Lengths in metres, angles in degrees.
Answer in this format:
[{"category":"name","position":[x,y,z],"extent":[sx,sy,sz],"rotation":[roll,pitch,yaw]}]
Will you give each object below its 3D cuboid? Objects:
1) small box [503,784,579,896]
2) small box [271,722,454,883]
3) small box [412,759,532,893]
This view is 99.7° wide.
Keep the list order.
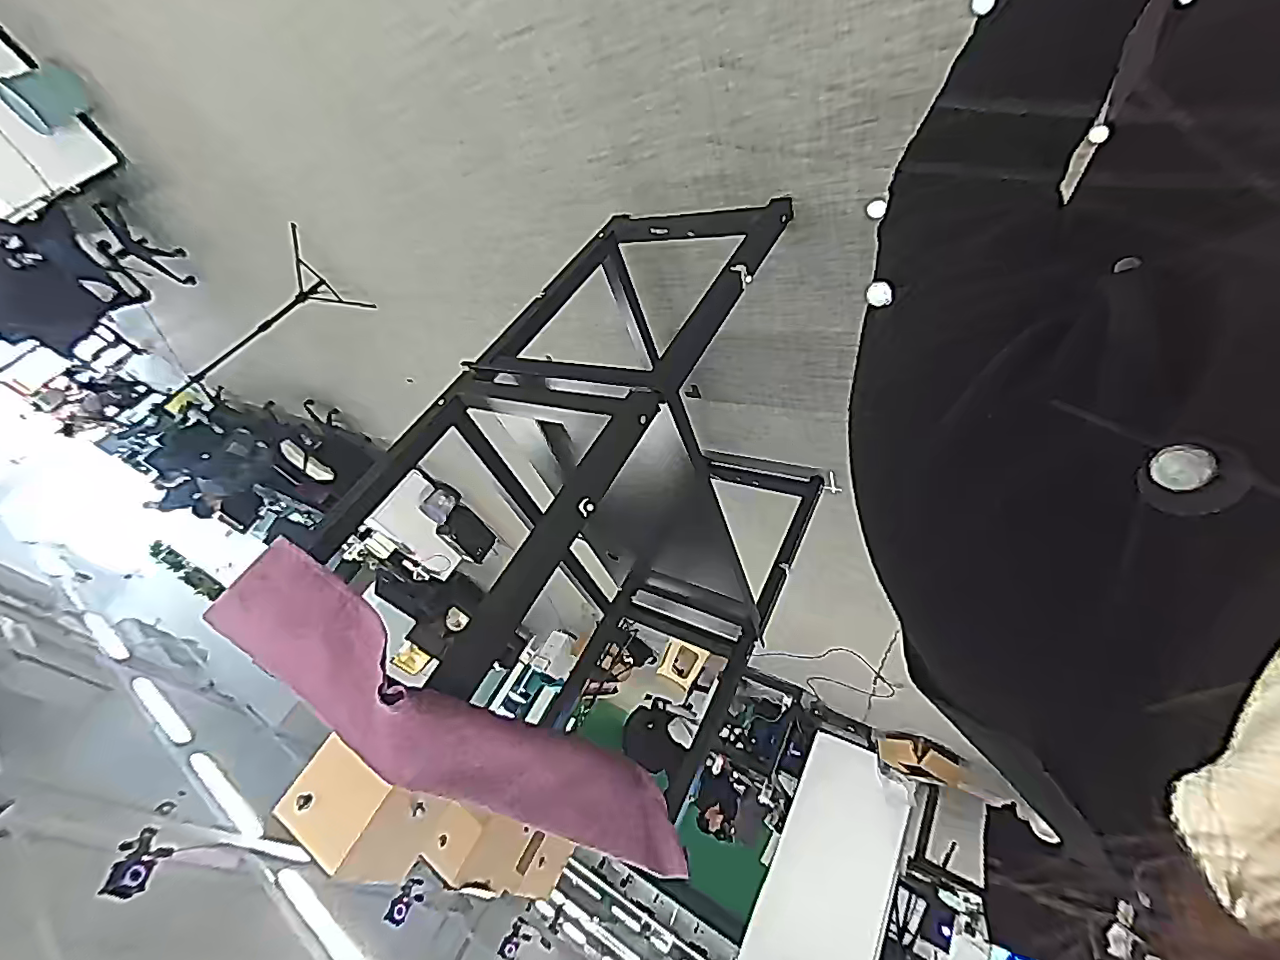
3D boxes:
[{"category":"small box","position":[-0.283,0.878,1.328],"extent":[0.168,0.176,0.179],"rotation":[14,149,33]},{"category":"small box","position":[-0.451,0.528,0.902],"extent":[0.179,0.176,0.168],"rotation":[16,150,30]},{"category":"small box","position":[-0.355,0.729,1.148],"extent":[0.179,0.176,0.168],"rotation":[11,146,38]}]
